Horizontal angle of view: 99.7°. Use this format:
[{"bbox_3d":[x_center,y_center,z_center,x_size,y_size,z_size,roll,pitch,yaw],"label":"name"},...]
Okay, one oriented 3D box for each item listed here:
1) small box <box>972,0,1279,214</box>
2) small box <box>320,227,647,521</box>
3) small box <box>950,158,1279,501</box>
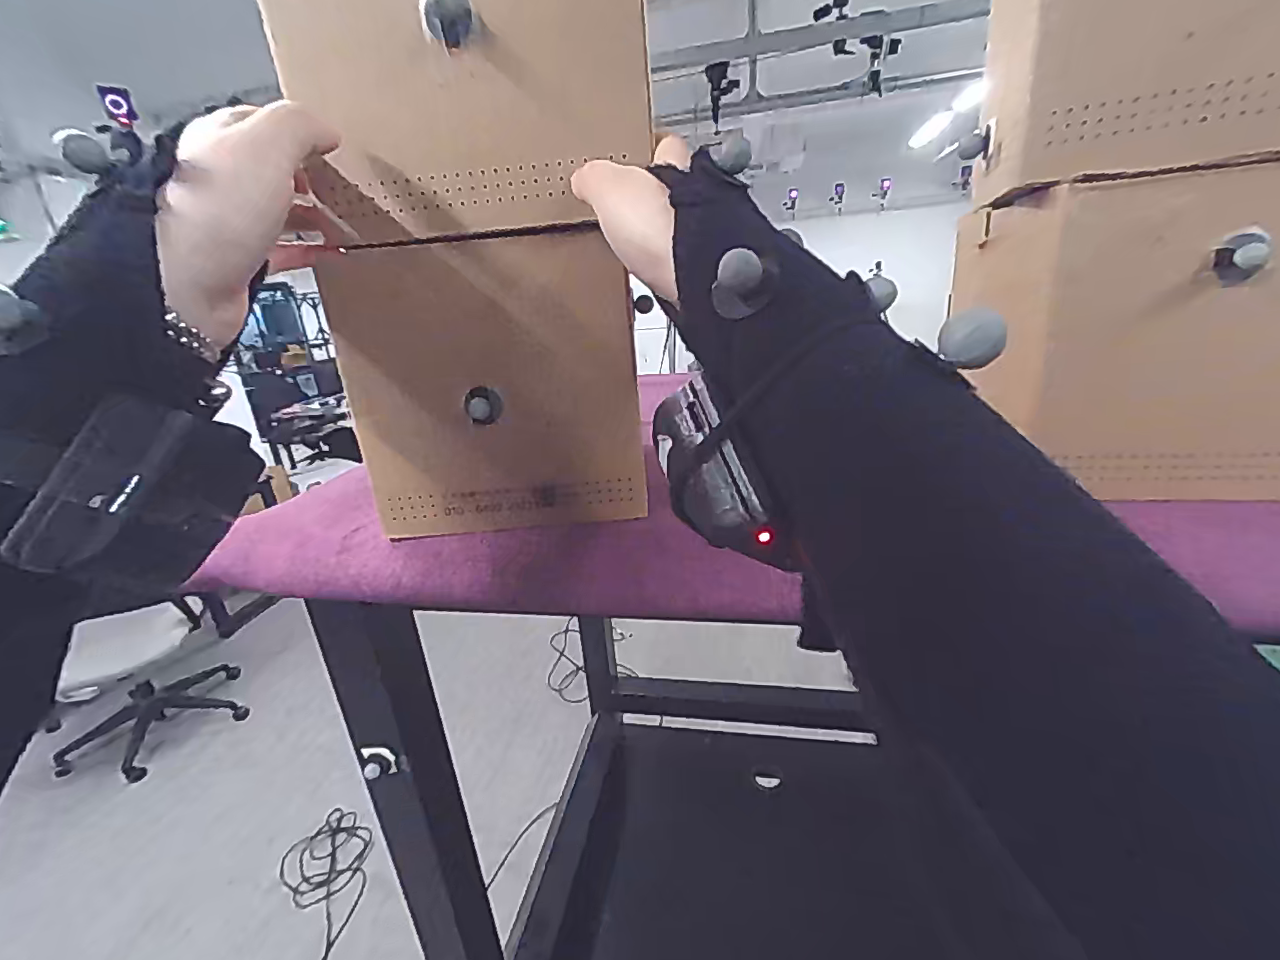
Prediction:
[{"bbox_3d":[0.295,-0.244,0.285,0.179,0.176,0.168,2,20,23],"label":"small box"},{"bbox_3d":[-0.083,-0.075,0.386,0.168,0.176,0.179,-3,20,0],"label":"small box"},{"bbox_3d":[0.313,-0.092,0.339,0.179,0.176,0.168,0,21,13],"label":"small box"}]
